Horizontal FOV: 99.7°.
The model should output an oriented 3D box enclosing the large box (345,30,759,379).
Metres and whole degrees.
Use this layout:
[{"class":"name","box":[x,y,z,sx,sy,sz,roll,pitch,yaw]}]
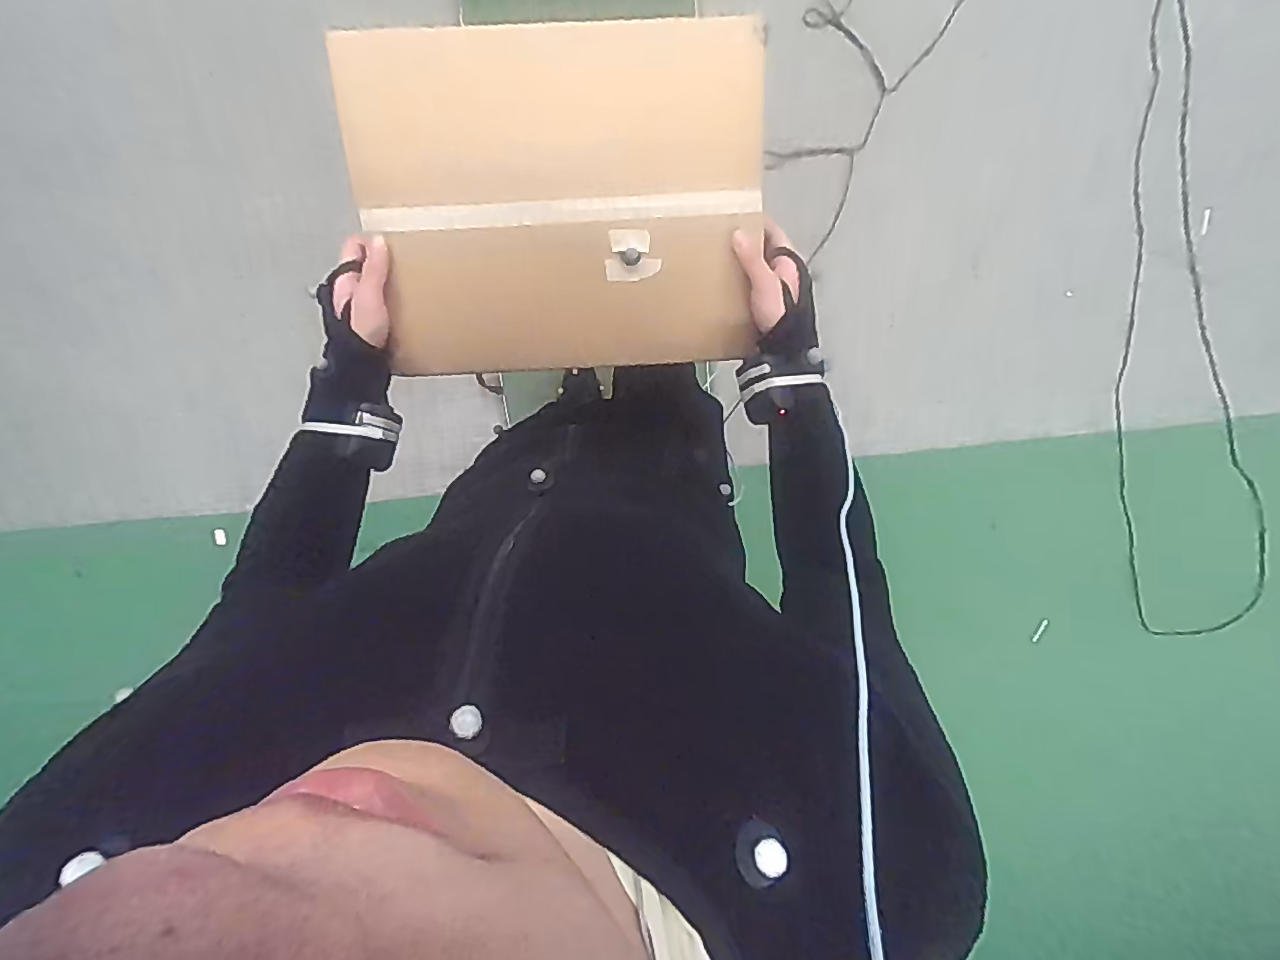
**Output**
[{"class":"large box","box":[-0.083,-0.318,0.702,0.408,0.320,0.320,-4,109,-2]}]
